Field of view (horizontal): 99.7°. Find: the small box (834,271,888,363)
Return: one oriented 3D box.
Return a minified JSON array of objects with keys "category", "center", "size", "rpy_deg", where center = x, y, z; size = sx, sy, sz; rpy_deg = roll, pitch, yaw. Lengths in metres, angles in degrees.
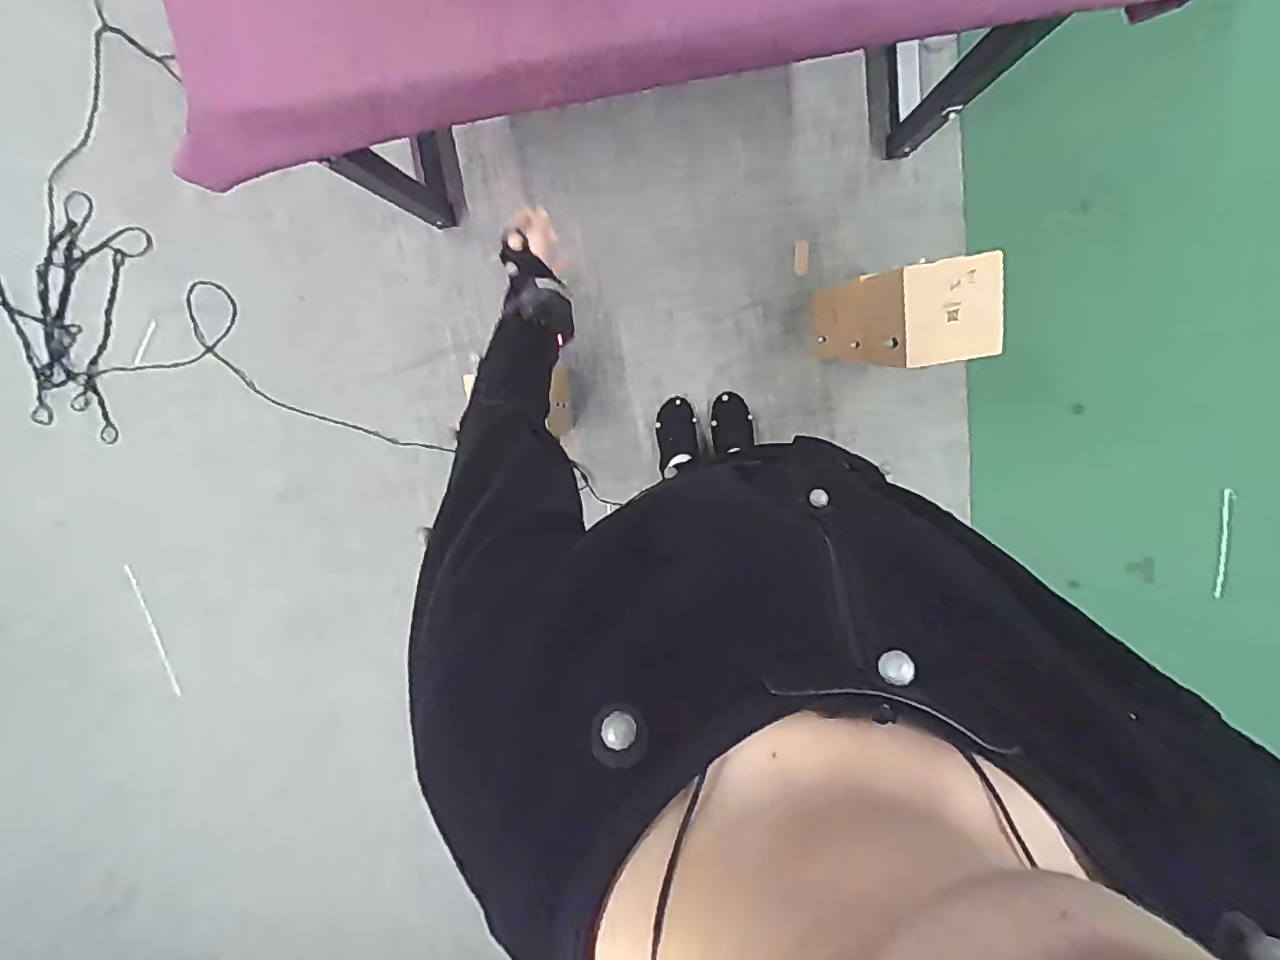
[{"category":"small box","center":[0.529,-0.352,1.165],"size":[0.168,0.176,0.179],"rpy_deg":[-9,103,5]}]

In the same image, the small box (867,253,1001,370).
[{"category":"small box","center":[0.537,-0.308,1.006],"size":[0.168,0.176,0.179],"rpy_deg":[-8,103,4]}]

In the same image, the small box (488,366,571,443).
[{"category":"small box","center":[-0.279,-0.201,1.406],"size":[0.168,0.176,0.179],"rpy_deg":[-4,103,4]}]

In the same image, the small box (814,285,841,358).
[{"category":"small box","center":[0.531,-0.389,1.323],"size":[0.179,0.176,0.168],"rpy_deg":[-6,102,4]}]
